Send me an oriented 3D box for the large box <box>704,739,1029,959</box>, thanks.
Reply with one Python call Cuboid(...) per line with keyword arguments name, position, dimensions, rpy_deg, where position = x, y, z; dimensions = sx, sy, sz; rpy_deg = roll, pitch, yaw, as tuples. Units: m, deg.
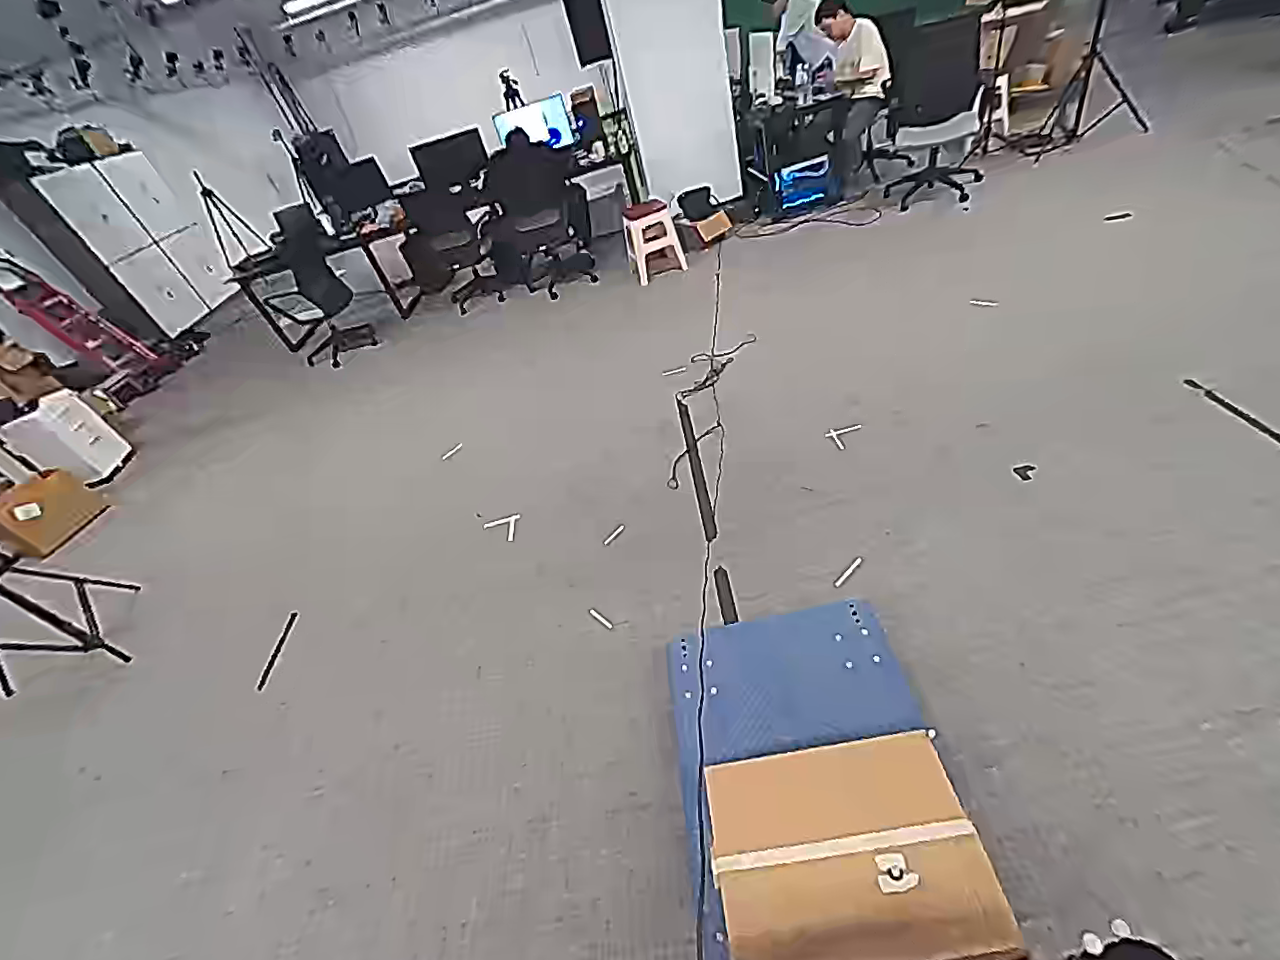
Cuboid(name="large box", position=(0.352, 0.706, 0.942), dimensions=(0.408, 0.320, 0.320), rpy_deg=(-13, 39, 6))
